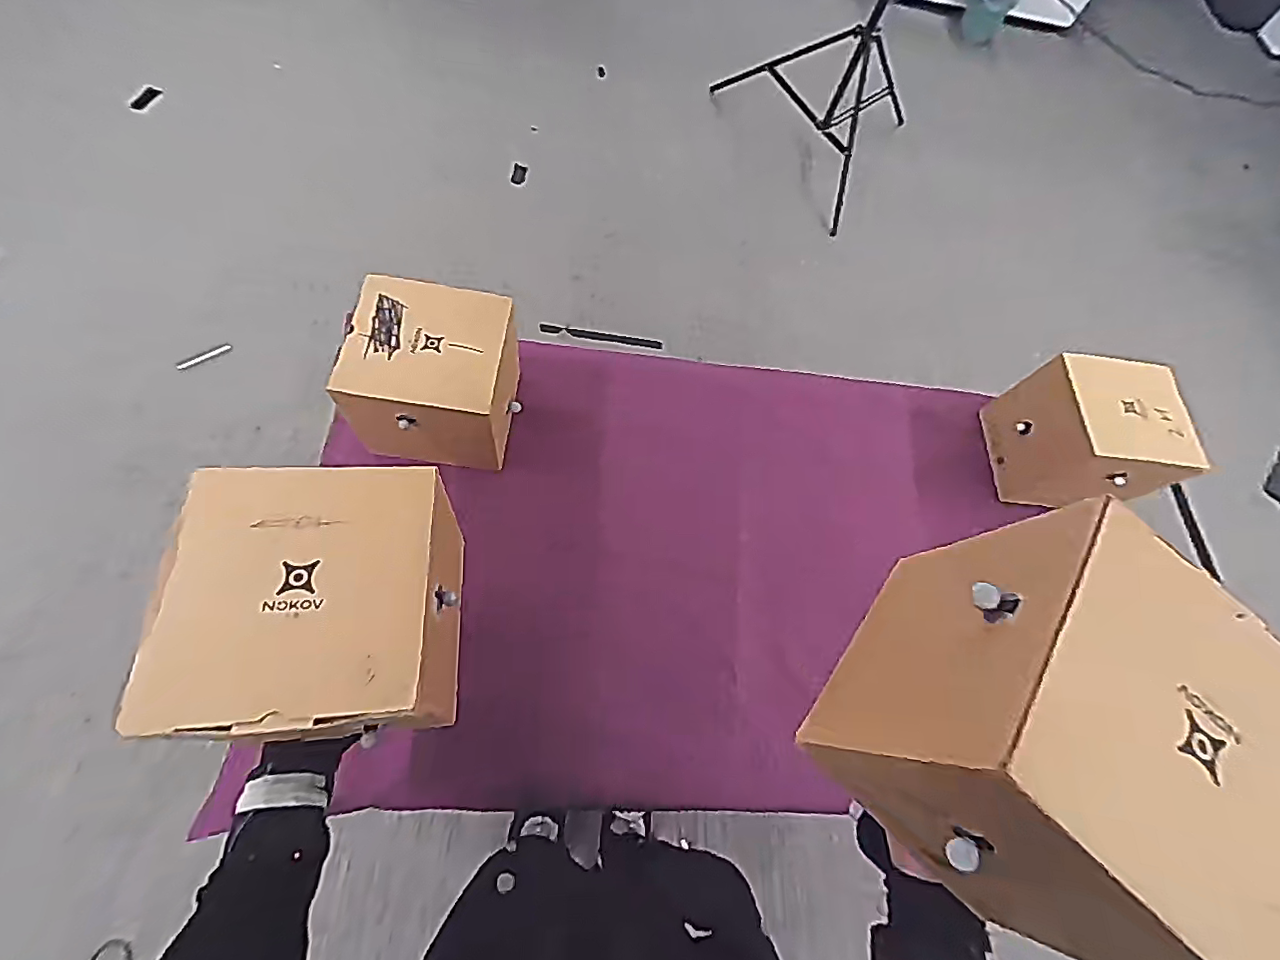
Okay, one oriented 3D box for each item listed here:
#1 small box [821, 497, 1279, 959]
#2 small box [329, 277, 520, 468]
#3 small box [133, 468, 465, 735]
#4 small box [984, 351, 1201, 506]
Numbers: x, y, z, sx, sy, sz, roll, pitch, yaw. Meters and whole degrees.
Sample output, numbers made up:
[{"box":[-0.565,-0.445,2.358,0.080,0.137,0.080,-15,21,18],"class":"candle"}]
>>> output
[{"box":[0.238,0.146,0.320,0.168,0.176,0.179,43,63,4],"class":"small box"},{"box":[-0.257,-0.127,0.694,0.179,0.176,0.168,8,68,-7],"class":"small box"},{"box":[-0.238,0.104,0.436,0.168,0.176,0.179,0,63,-12],"class":"small box"},{"box":[0.656,-0.069,0.815,0.179,0.176,0.168,6,67,-7],"class":"small box"}]
